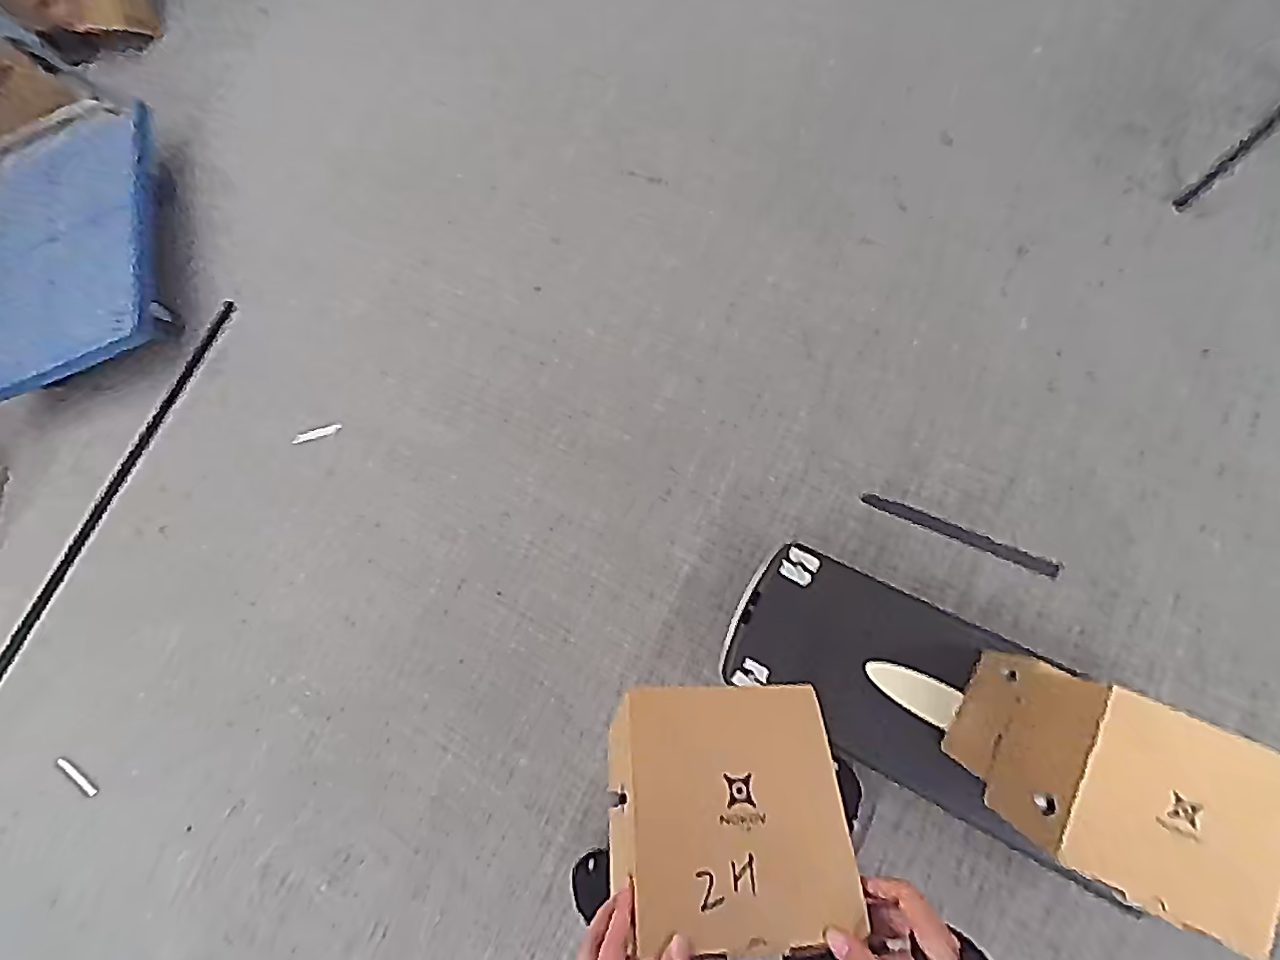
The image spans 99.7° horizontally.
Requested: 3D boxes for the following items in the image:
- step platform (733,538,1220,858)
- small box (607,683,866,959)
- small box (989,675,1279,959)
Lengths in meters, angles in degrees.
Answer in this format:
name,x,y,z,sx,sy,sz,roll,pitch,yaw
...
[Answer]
name,x,y,z,sx,sy,sz,roll,pitch,yaw
step platform,0.509,0.361,0.915,0.684,0.204,0.286,25,82,18
small box,0.060,0.290,0.471,0.168,0.176,0.179,3,54,-8
small box,0.507,0.327,0.570,0.168,0.176,0.179,23,83,16
